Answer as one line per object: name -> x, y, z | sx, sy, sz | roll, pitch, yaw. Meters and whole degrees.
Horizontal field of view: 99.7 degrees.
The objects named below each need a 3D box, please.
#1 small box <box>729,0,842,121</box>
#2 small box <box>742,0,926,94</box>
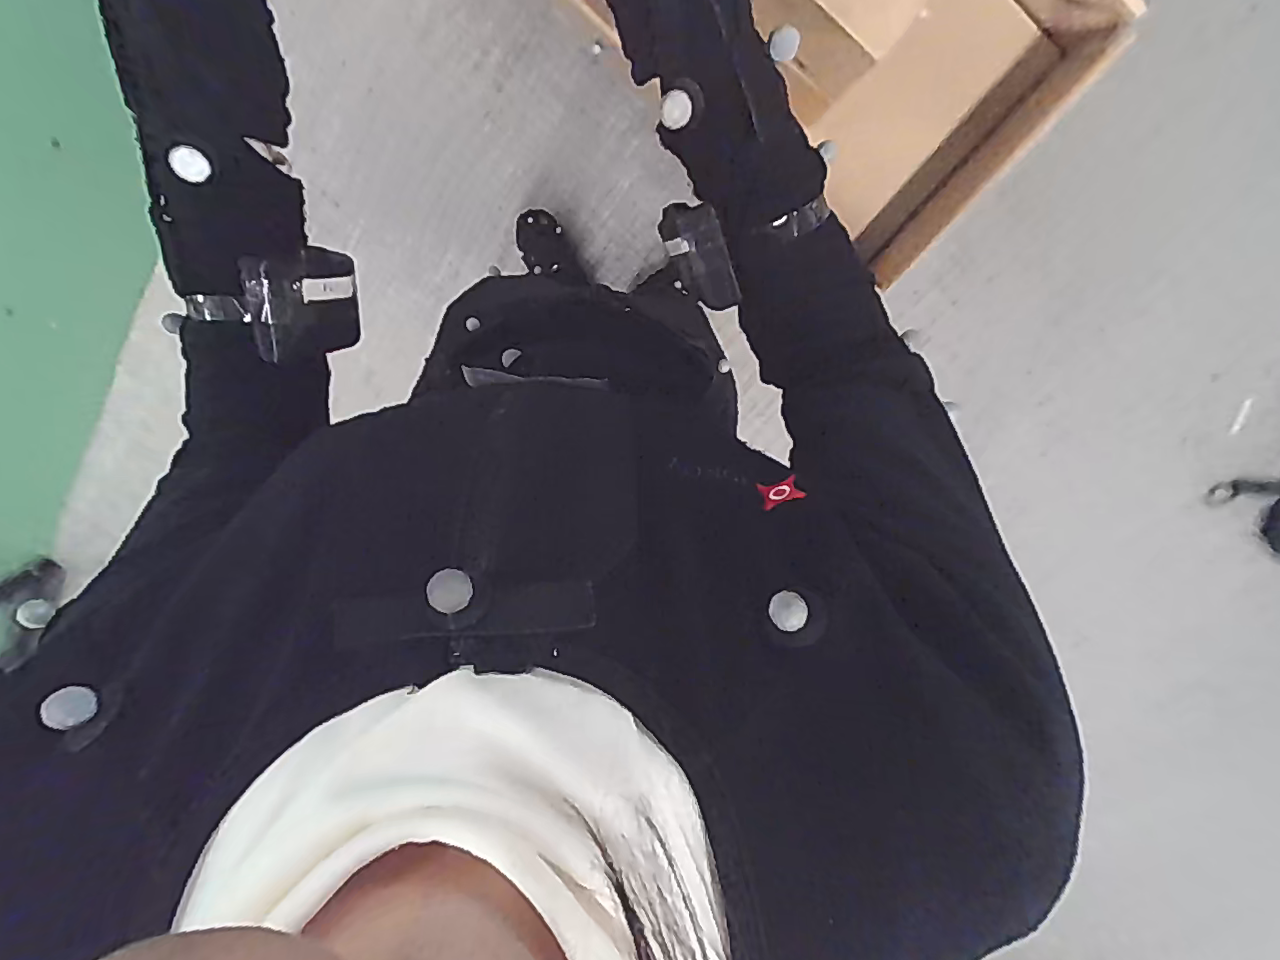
small box -> 0.224, -0.594, 0.673 | 0.168, 0.176, 0.179 | 34, 113, -10
small box -> 0.214, -0.527, 0.524 | 0.168, 0.176, 0.179 | 36, 113, -10
